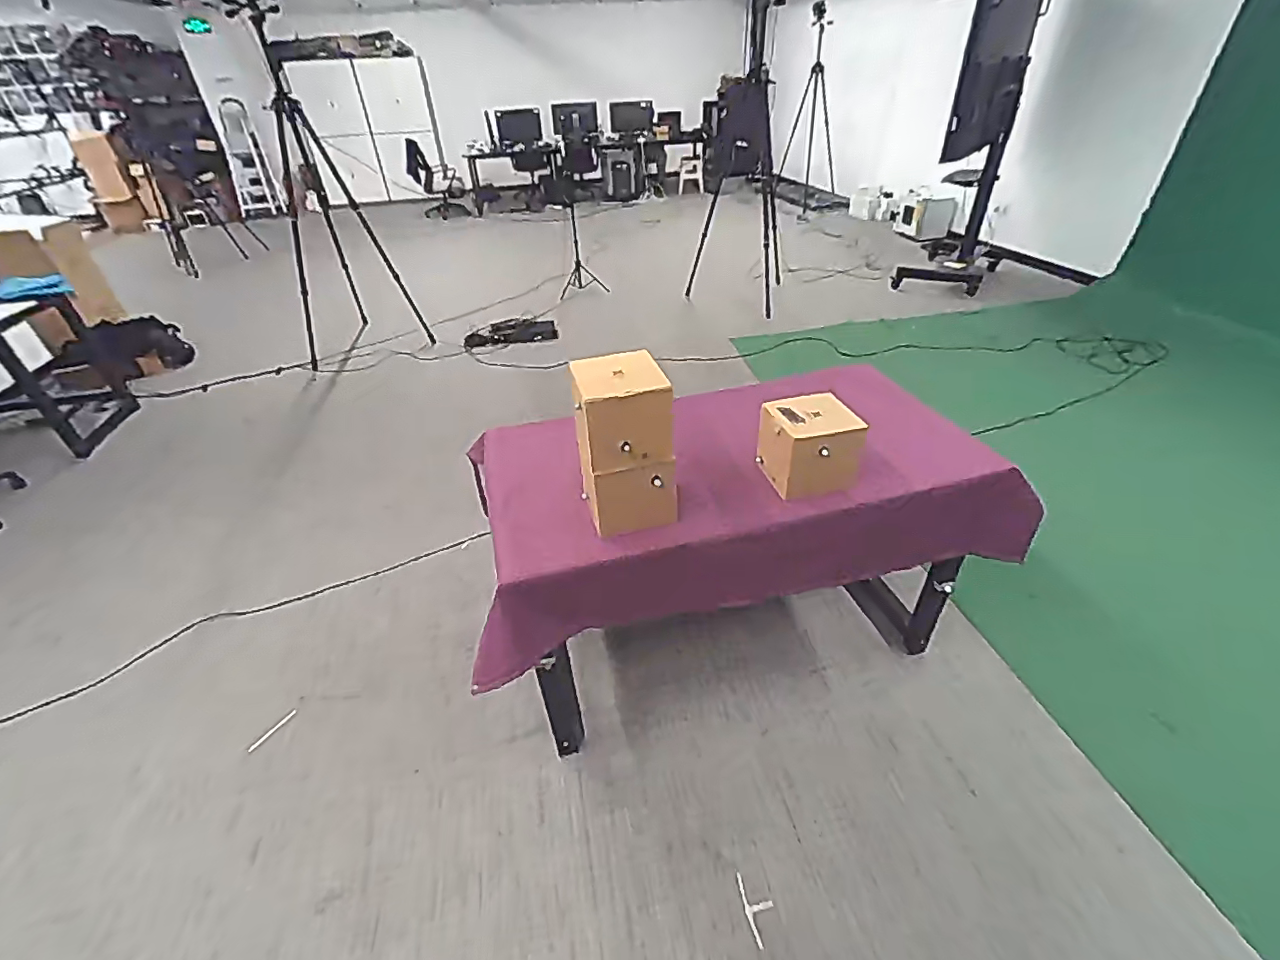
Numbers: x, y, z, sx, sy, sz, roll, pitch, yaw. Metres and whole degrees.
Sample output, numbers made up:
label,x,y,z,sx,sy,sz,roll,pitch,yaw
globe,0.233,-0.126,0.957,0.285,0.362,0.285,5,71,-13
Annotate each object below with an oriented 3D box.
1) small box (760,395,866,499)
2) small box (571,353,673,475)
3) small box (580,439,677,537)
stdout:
label,x,y,z,sx,sy,sz,roll,pitch,yaw
small box,0.386,-0.074,1.243,0.179,0.176,0.168,-10,37,-9
small box,-0.038,-0.134,1.082,0.168,0.176,0.179,-11,38,-11
small box,-0.026,0.000,1.176,0.179,0.176,0.168,-11,37,-11
